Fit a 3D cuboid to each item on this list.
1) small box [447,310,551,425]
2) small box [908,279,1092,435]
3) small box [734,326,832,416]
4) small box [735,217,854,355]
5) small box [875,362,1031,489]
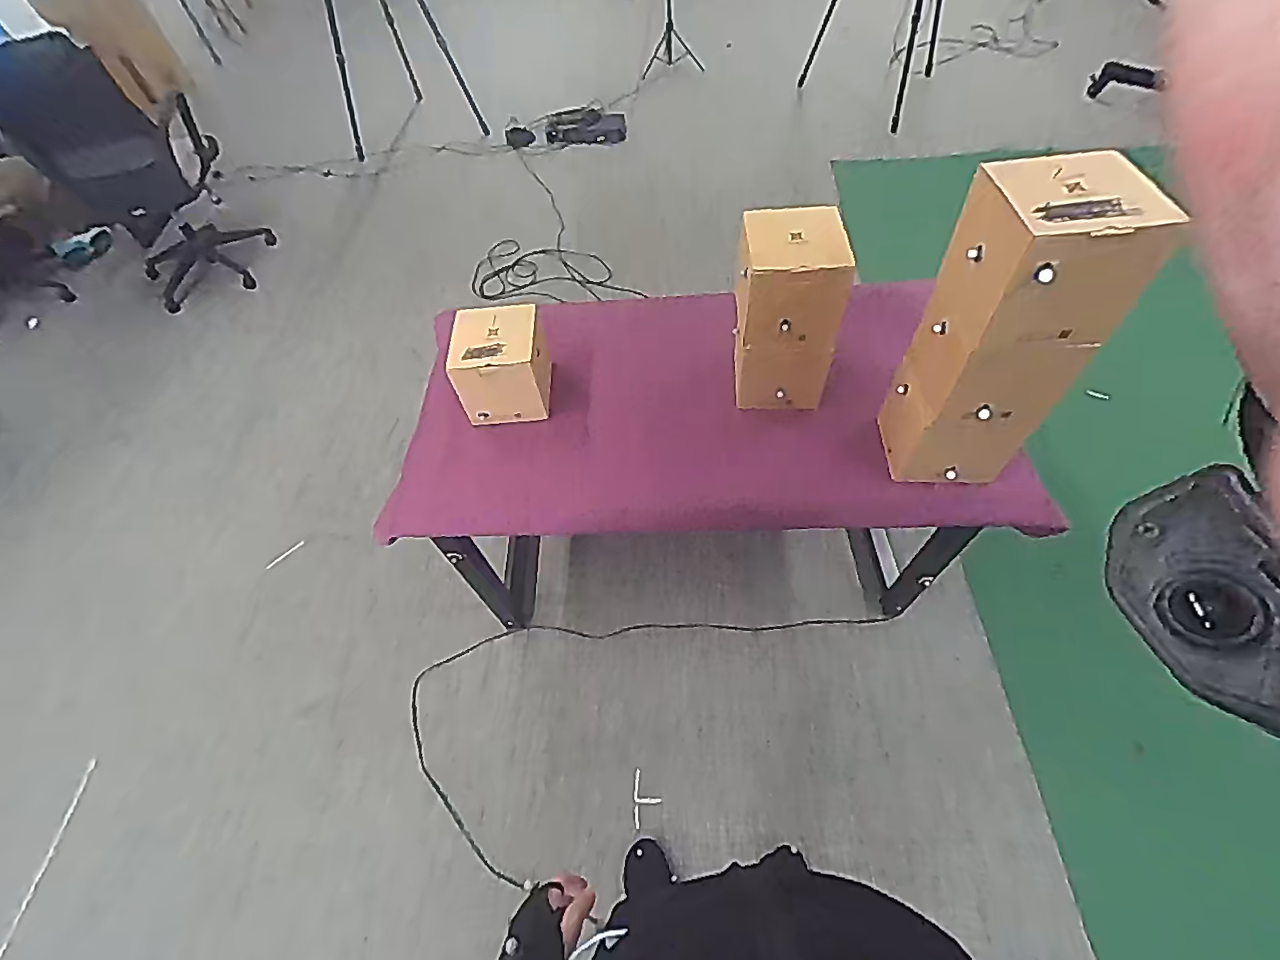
[{"bbox_3d":[-0.285,-0.229,1.135,0.168,0.176,0.179,-4,55,1],"label":"small box"},{"bbox_3d":[0.542,-0.191,0.850,0.168,0.176,0.179,0,55,7],"label":"small box"},{"bbox_3d":[0.284,-0.253,1.110,0.168,0.176,0.179,1,56,6],"label":"small box"},{"bbox_3d":[0.267,-0.348,0.980,0.168,0.176,0.179,-1,57,3],"label":"small box"},{"bbox_3d":[0.552,-0.096,0.981,0.179,0.176,0.168,1,55,5],"label":"small box"}]
